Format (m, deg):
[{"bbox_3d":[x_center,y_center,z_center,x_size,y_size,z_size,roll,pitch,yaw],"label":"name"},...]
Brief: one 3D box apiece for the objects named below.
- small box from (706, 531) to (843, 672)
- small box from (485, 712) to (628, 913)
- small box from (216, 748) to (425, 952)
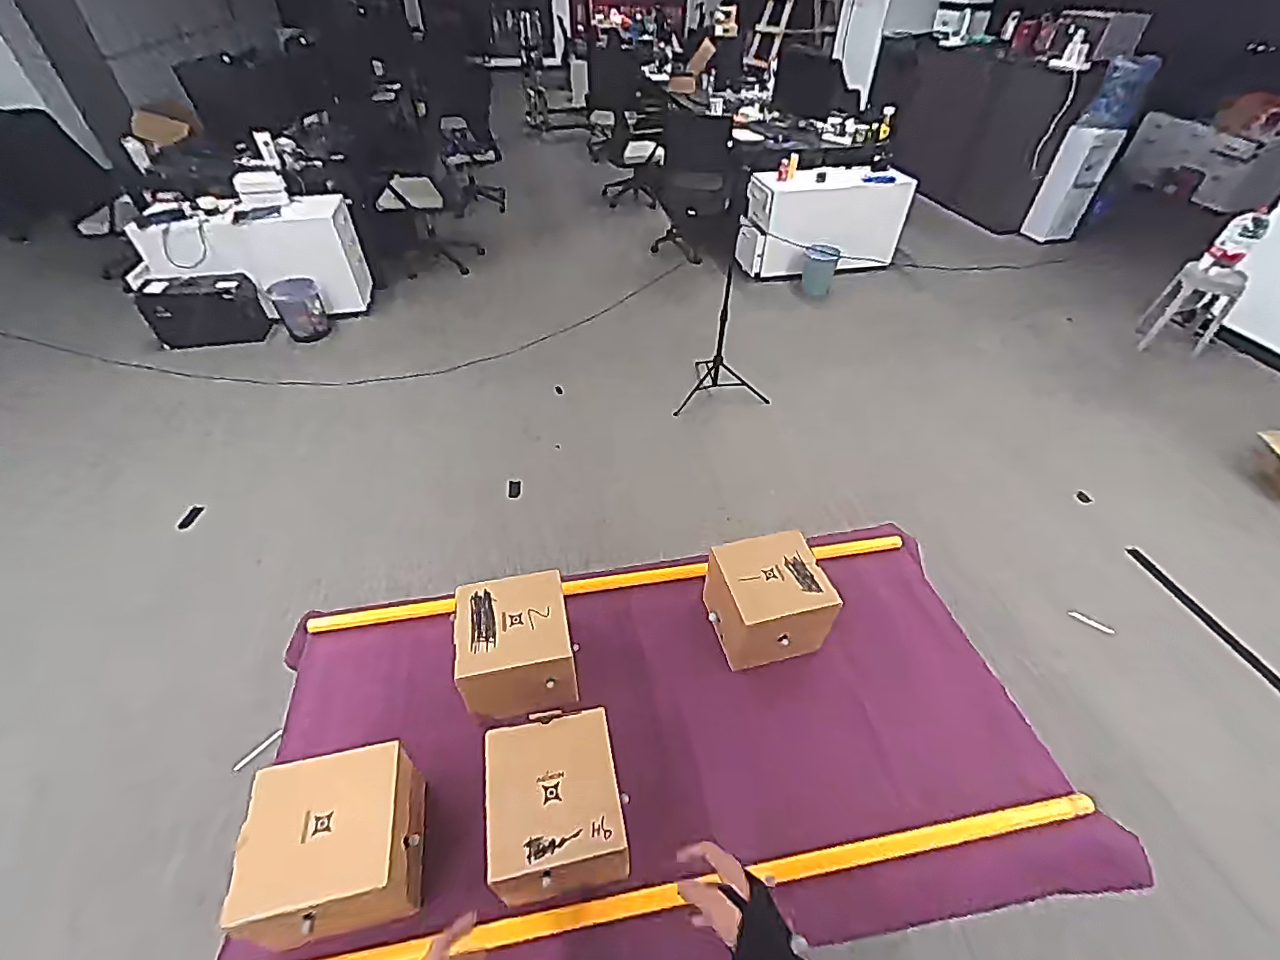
[{"bbox_3d":[0.229,0.220,0.974,0.179,0.176,0.168,-11,46,-10],"label":"small box"},{"bbox_3d":[-0.111,0.448,0.734,0.168,0.176,0.179,-8,44,-8],"label":"small box"},{"bbox_3d":[-0.388,0.478,0.700,0.179,0.176,0.168,-8,44,-10],"label":"small box"}]
